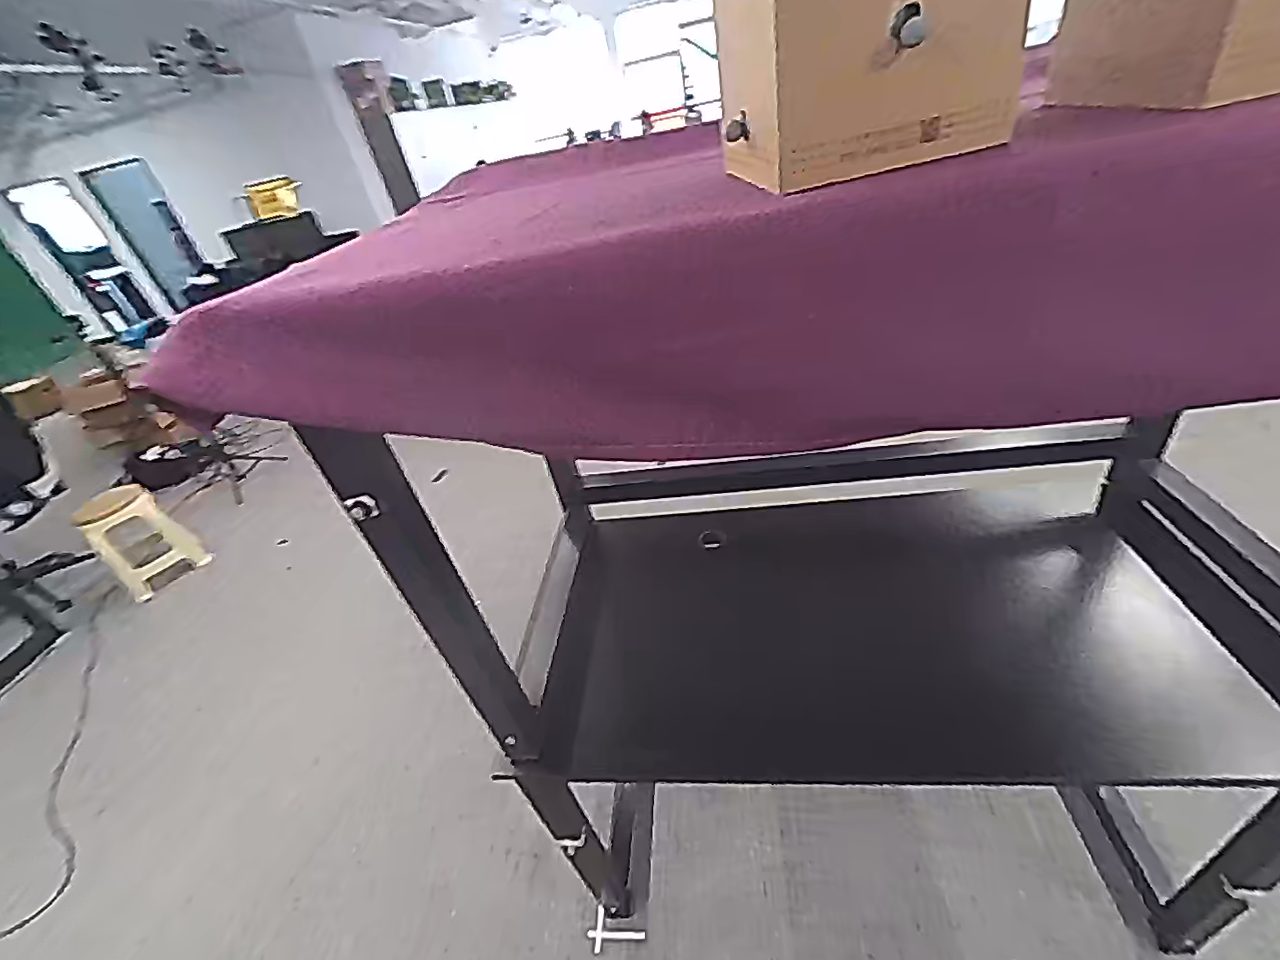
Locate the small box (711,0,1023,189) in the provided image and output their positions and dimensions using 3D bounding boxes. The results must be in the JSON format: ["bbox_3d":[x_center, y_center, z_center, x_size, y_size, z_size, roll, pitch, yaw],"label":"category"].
[{"bbox_3d":[0.155,-0.329,0.400,0.168,0.176,0.179,-12,35,2],"label":"small box"}]

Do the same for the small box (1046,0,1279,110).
[{"bbox_3d":[0.421,-0.364,0.361,0.168,0.176,0.179,-8,34,7],"label":"small box"}]
